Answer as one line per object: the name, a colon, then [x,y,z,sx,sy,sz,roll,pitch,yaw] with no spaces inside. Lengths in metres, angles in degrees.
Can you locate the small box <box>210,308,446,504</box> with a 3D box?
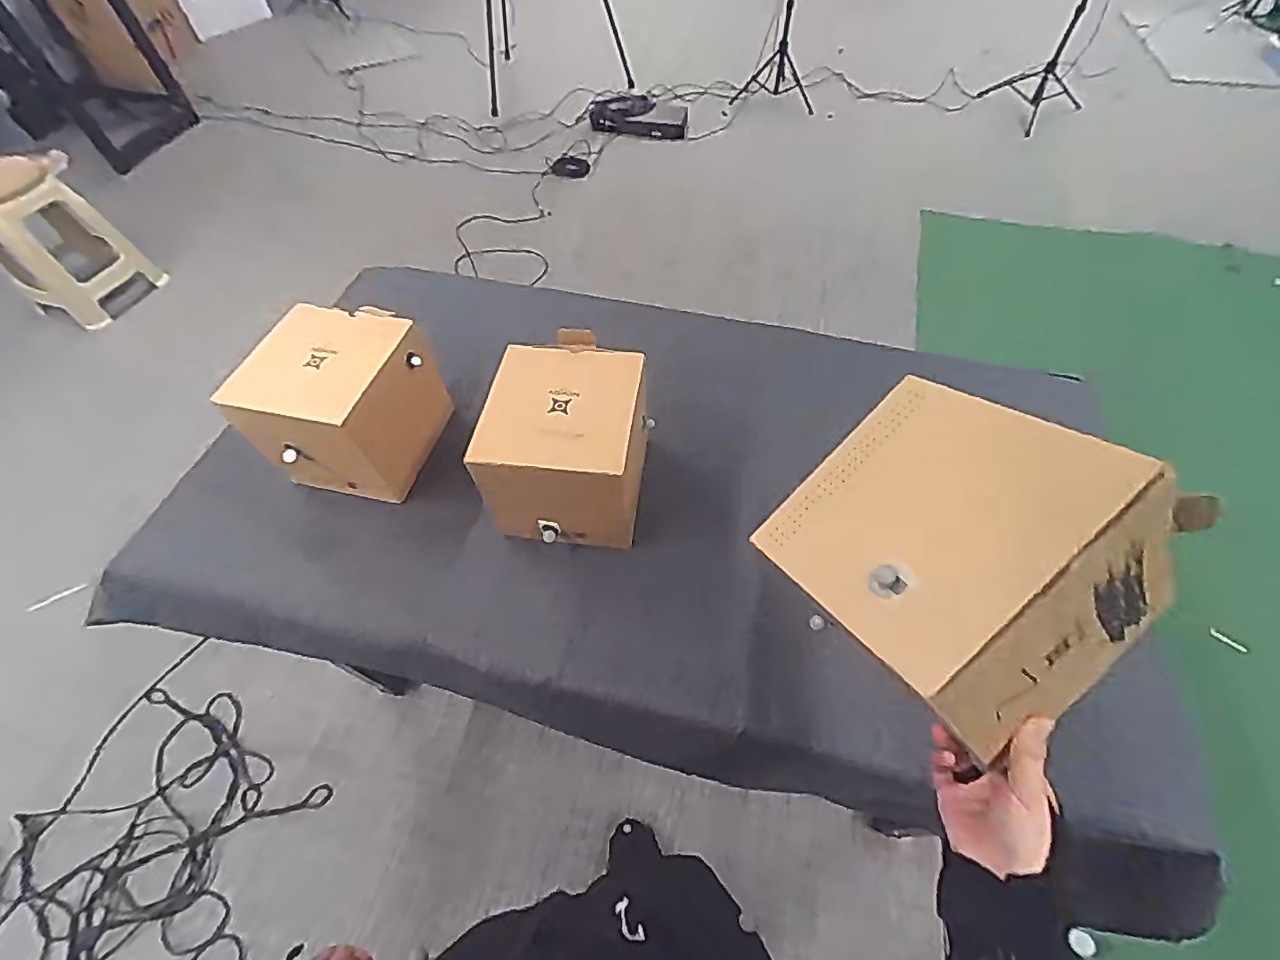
small box: [-0.374,-0.090,0.693,0.168,0.176,0.179,10,55,8]

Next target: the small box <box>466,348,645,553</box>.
small box: [-0.084,-0.033,0.648,0.168,0.176,0.179,4,56,5]
